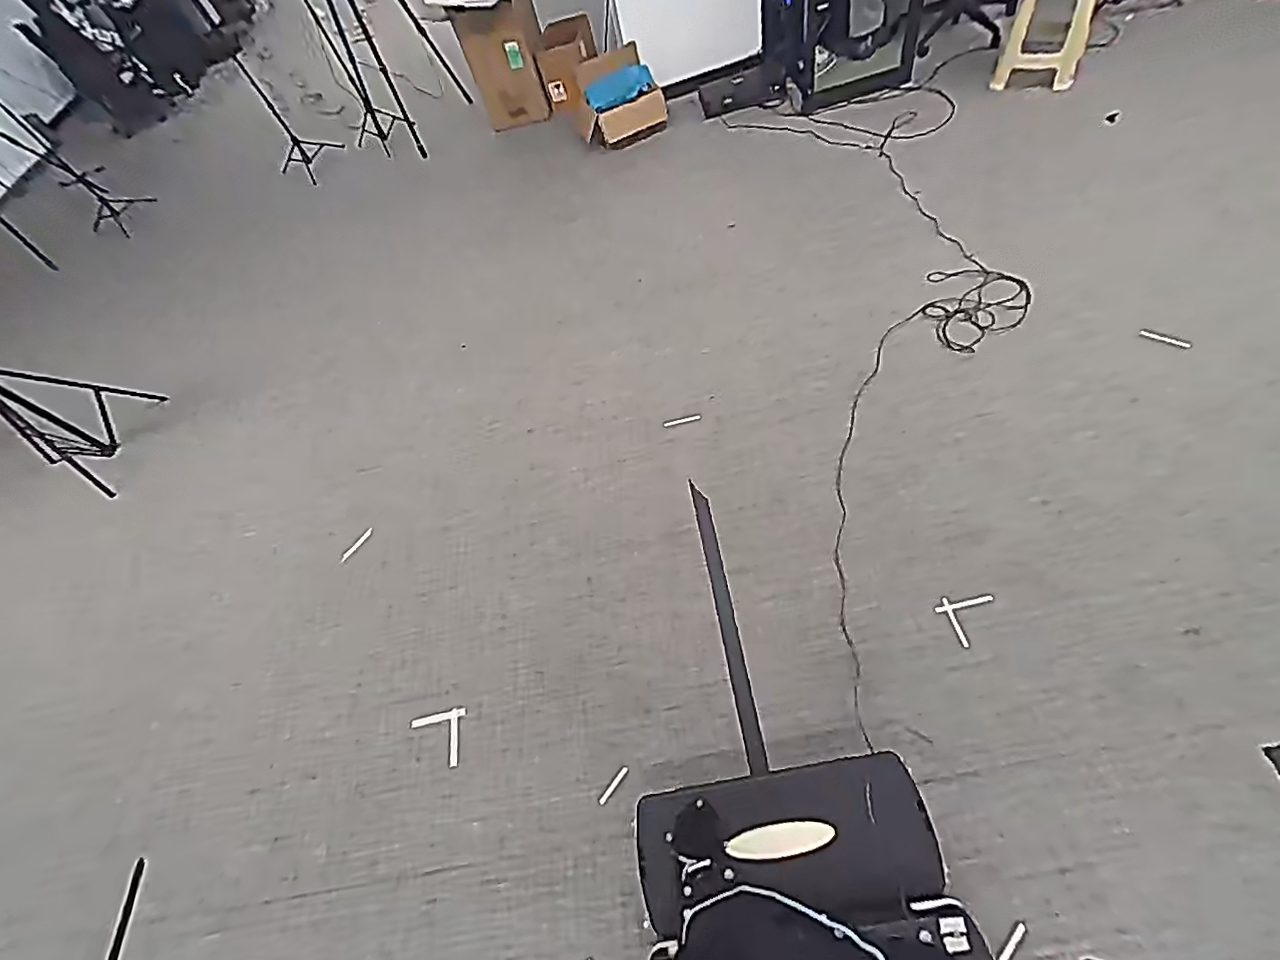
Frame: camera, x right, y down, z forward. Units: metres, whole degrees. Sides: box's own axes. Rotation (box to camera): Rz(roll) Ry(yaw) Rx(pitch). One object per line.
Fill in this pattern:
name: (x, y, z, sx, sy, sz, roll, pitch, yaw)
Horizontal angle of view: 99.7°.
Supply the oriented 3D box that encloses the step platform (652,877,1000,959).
step platform: (0.366, 1.026, 1.082, 0.684, 0.204, 0.286, -15, 55, 6)
